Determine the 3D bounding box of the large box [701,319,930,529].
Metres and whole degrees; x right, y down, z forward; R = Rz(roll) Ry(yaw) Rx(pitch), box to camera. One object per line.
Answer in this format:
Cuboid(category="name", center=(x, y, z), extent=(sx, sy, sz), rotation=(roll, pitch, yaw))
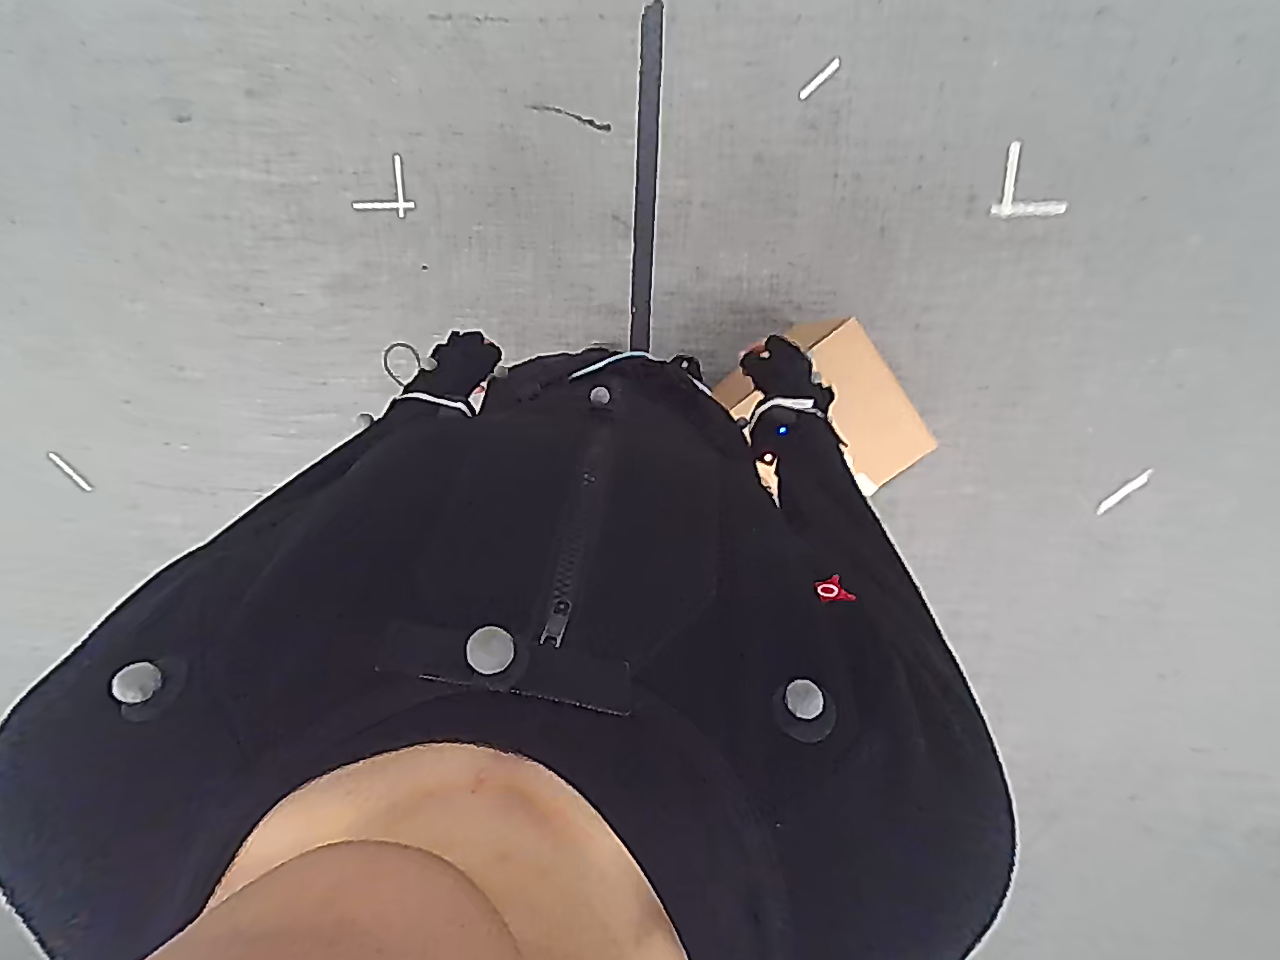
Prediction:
Cuboid(category="large box", center=(0.371, -0.140, 1.252), extent=(0.320, 0.408, 0.320), rotation=(-36, 100, 9))
